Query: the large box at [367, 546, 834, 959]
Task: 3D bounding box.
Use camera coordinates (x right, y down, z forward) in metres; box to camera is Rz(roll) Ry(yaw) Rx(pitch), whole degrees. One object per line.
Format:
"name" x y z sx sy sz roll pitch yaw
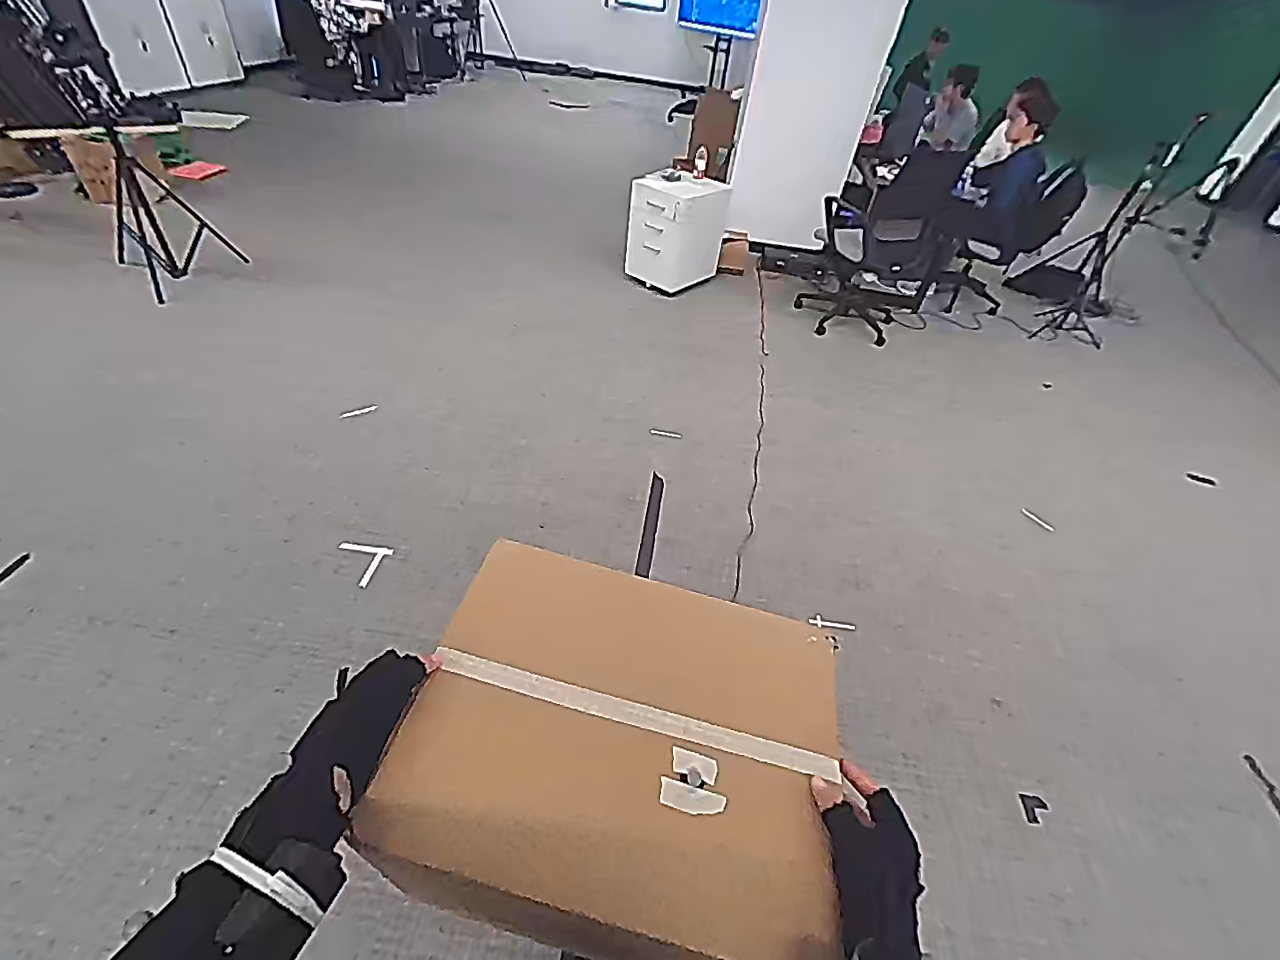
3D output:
"large box" -0.029 0.332 0.646 0.408 0.320 0.320 15 46 3
